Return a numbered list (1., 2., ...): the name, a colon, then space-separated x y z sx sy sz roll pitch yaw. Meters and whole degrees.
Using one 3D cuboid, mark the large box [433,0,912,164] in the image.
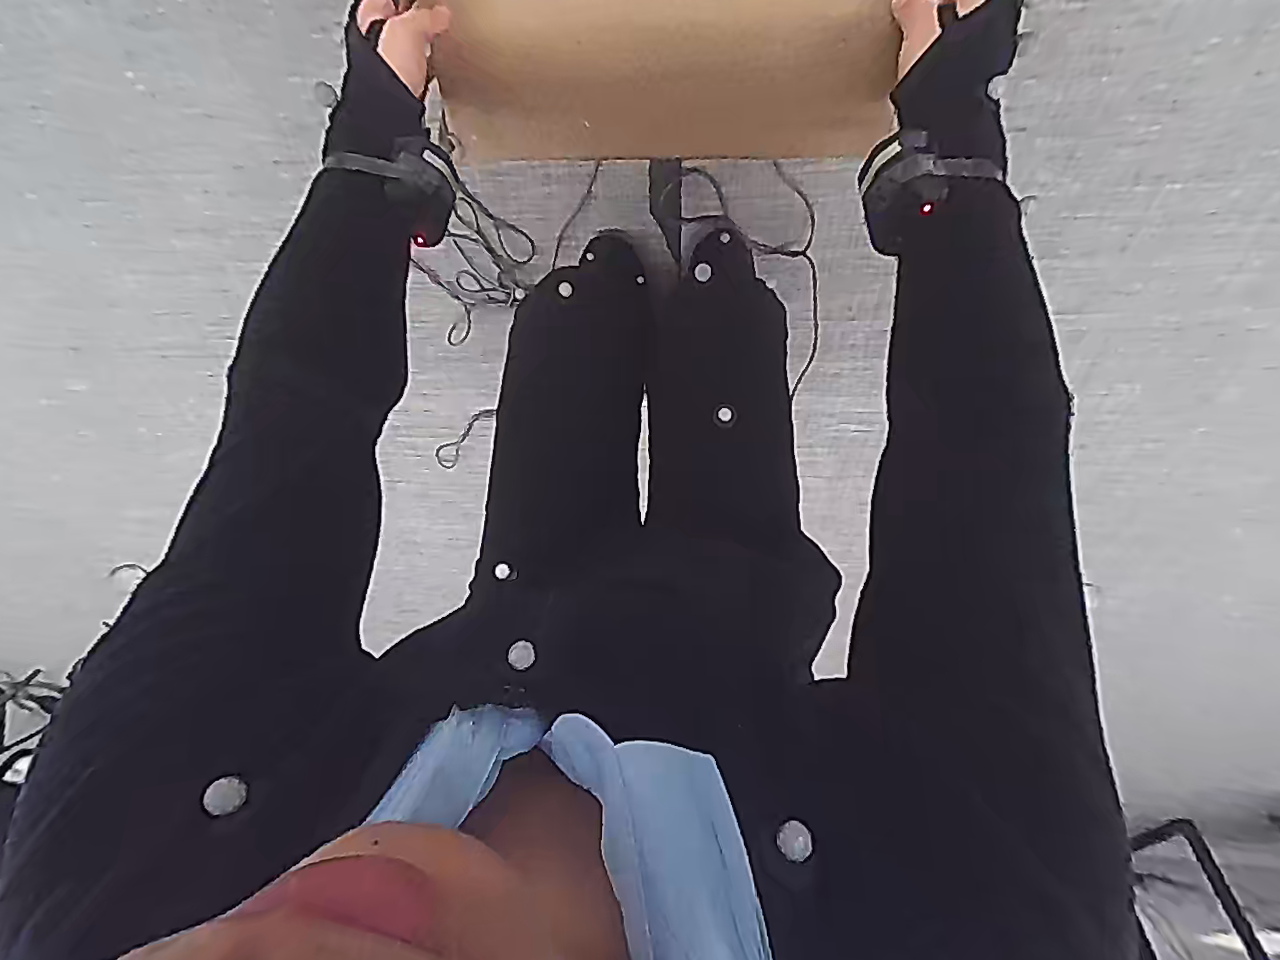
1. large box: 0.039 -0.523 0.529 0.408 0.320 0.320 4 132 7
